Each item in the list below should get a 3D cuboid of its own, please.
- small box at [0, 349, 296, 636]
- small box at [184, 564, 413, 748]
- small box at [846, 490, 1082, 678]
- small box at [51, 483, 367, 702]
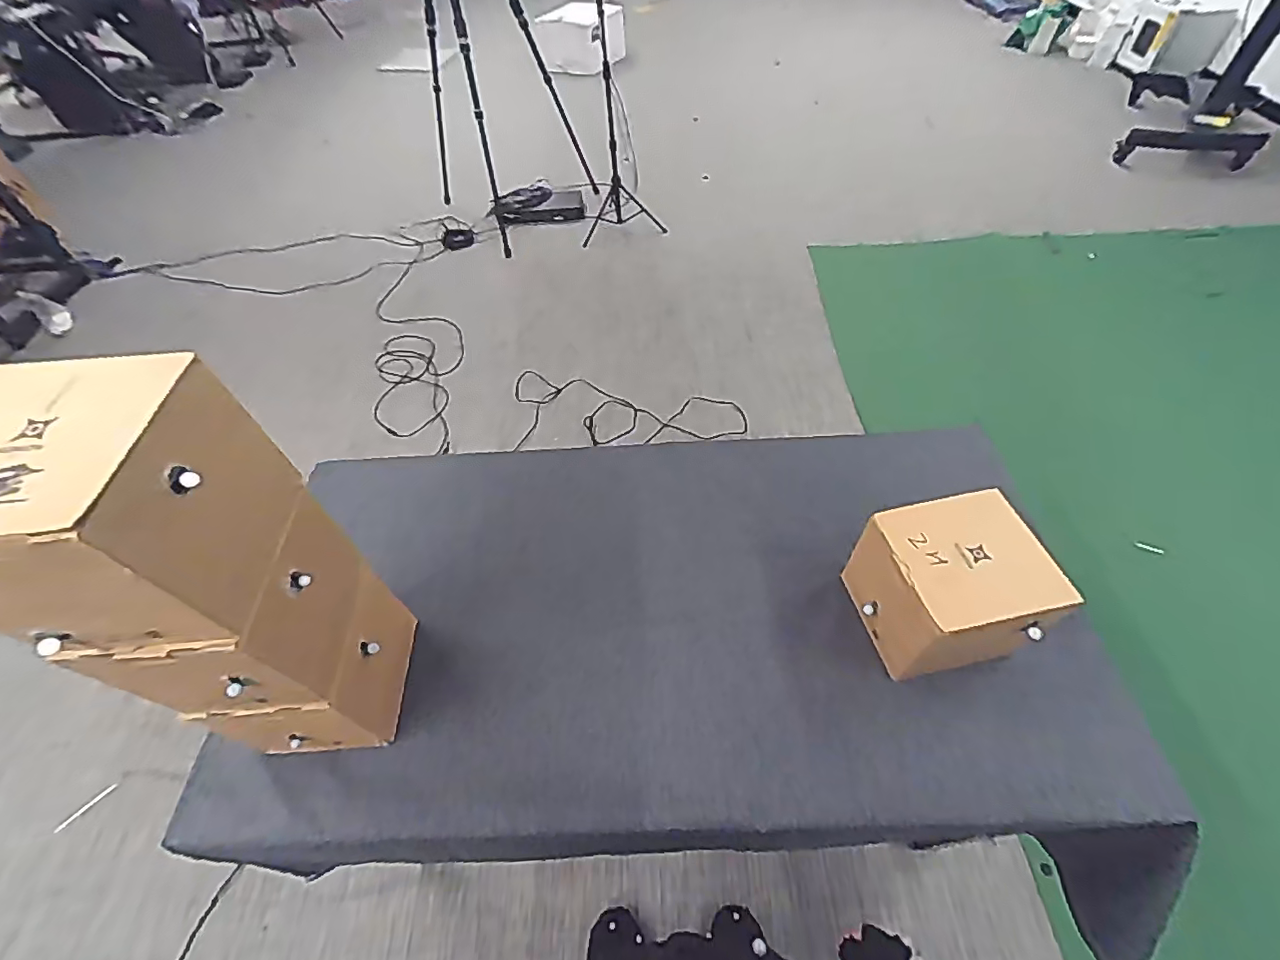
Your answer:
[{"bbox_3d":[-0.425,0.018,0.444,0.168,0.176,0.179,-4,52,-1],"label":"small box"},{"bbox_3d":[-0.412,0.227,0.695,0.168,0.176,0.179,-4,52,0],"label":"small box"},{"bbox_3d":[0.399,0.139,0.706,0.179,0.176,0.168,-11,52,-4],"label":"small box"},{"bbox_3d":[-0.417,0.124,0.569,0.168,0.176,0.179,-3,52,0],"label":"small box"}]
